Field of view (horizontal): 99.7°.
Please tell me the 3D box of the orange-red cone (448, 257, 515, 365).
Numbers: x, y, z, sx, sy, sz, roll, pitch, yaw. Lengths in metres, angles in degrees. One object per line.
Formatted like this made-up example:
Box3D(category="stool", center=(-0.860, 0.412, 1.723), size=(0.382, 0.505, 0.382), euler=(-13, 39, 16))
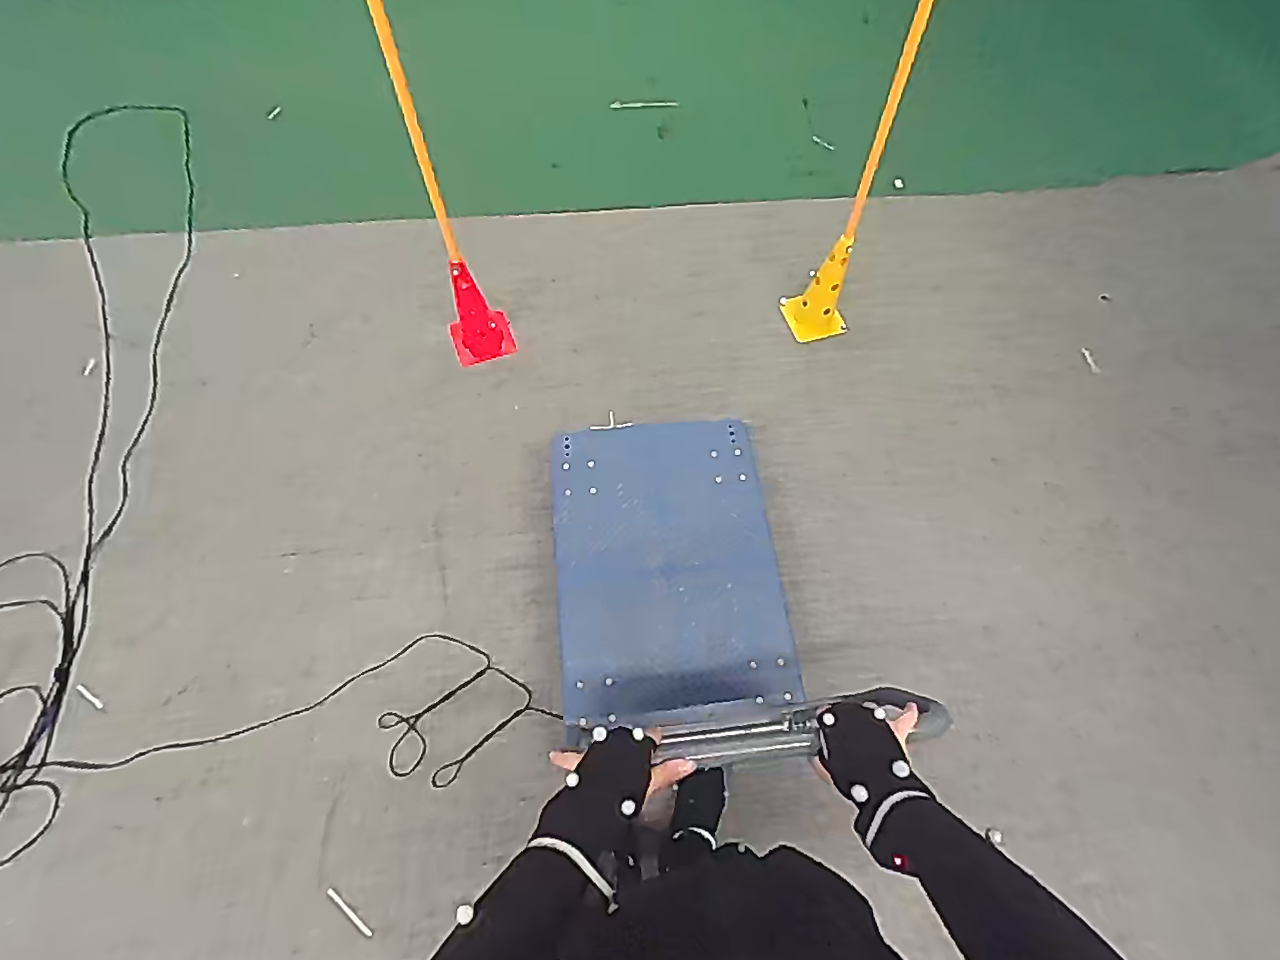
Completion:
Box3D(category="orange-red cone", center=(-0.545, -0.564, 1.731), size=(0.199, 0.360, 0.198), euler=(-19, 67, -8))
